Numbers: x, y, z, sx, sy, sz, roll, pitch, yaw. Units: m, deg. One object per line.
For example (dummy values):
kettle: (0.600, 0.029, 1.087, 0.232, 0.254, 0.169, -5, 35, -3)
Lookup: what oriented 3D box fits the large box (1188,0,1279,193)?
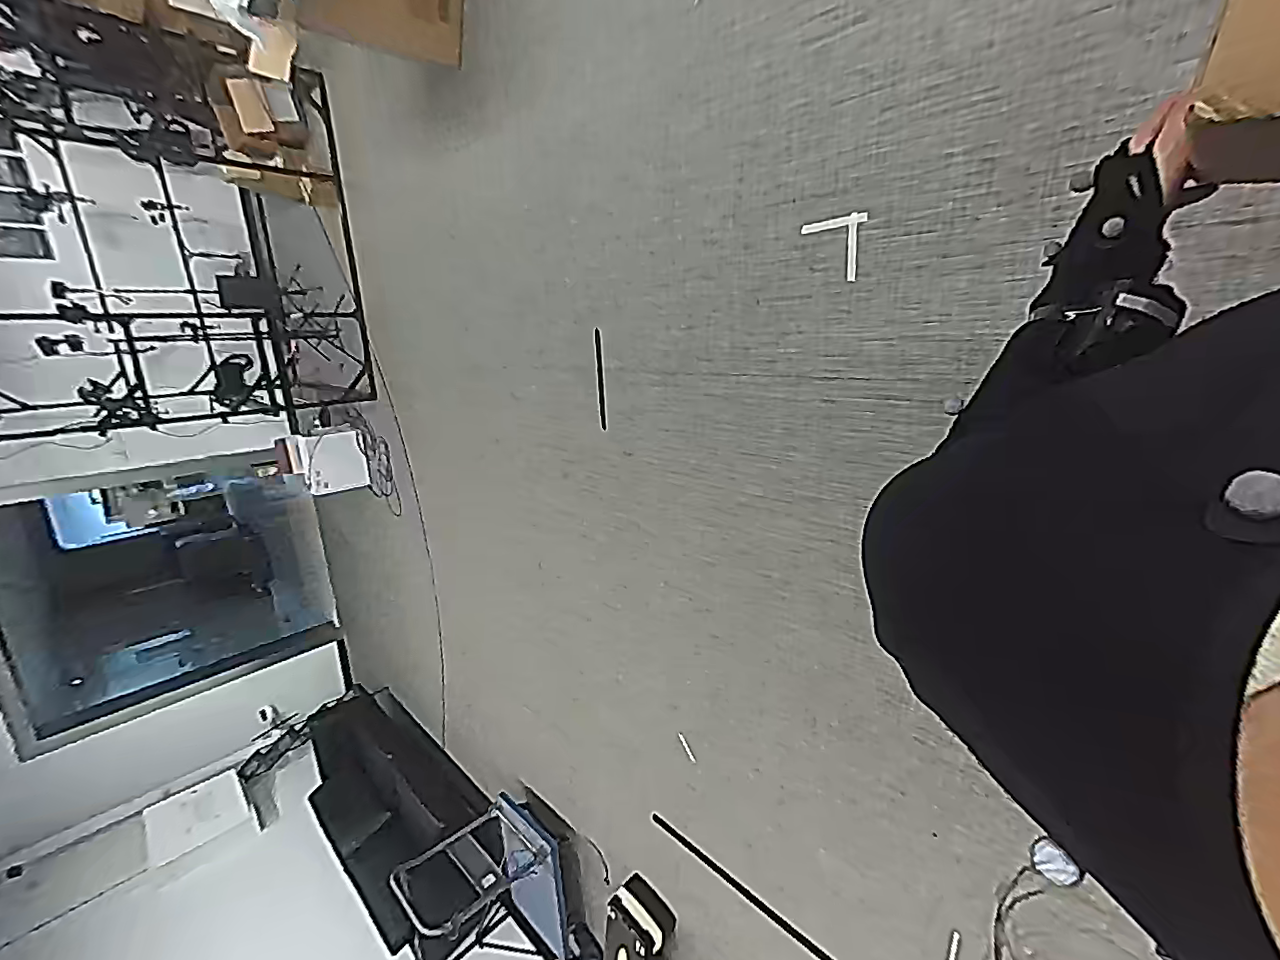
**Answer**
large box: (0.488, -0.285, 0.160, 0.408, 0.320, 0.320, 20, 120, 39)
